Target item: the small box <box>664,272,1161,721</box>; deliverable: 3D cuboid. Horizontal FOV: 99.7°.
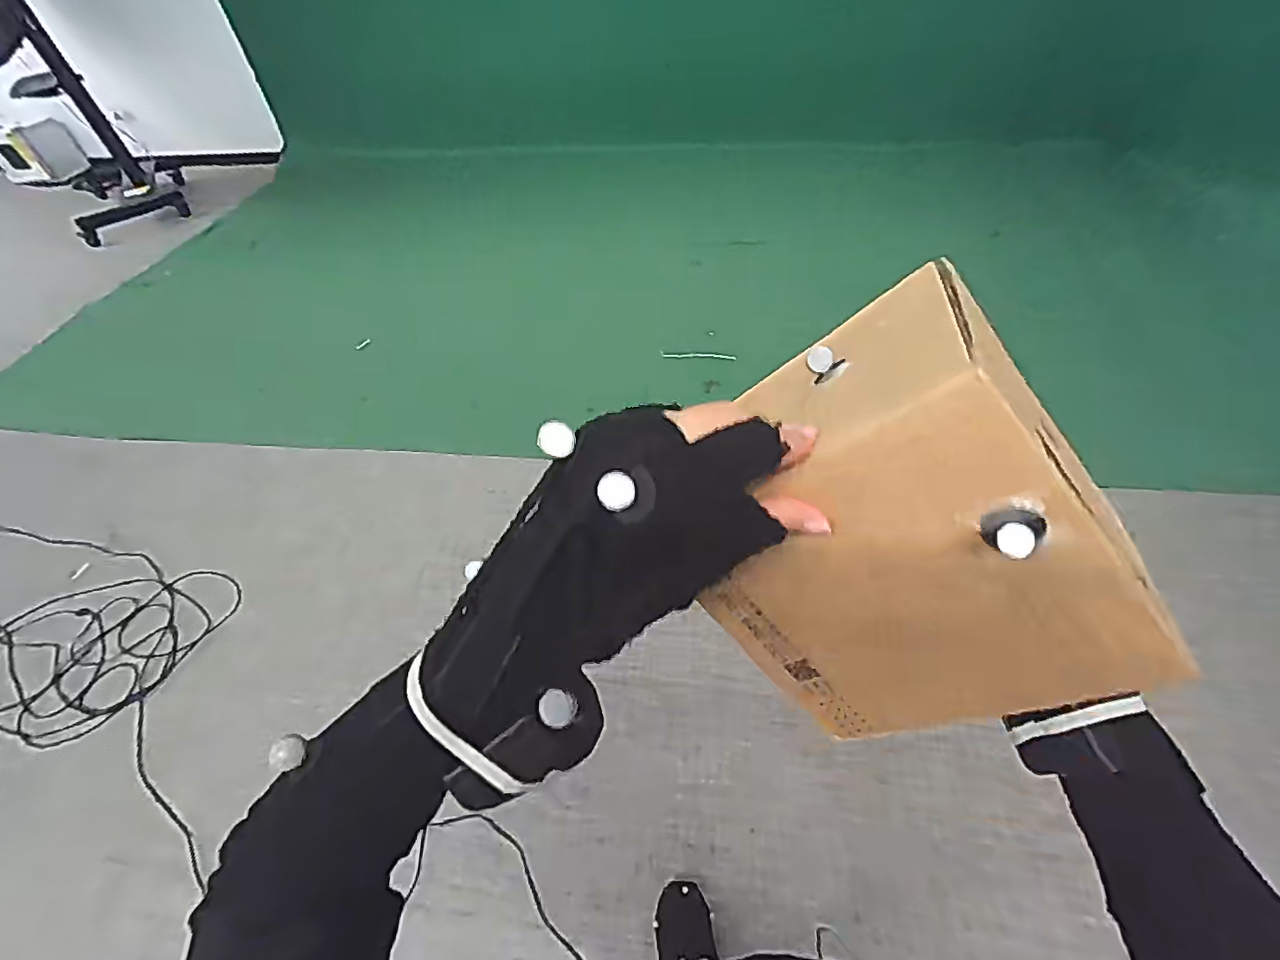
[{"bbox_3d":[0.139,0.010,0.327,0.168,0.176,0.179,47,36,-10],"label":"small box"}]
